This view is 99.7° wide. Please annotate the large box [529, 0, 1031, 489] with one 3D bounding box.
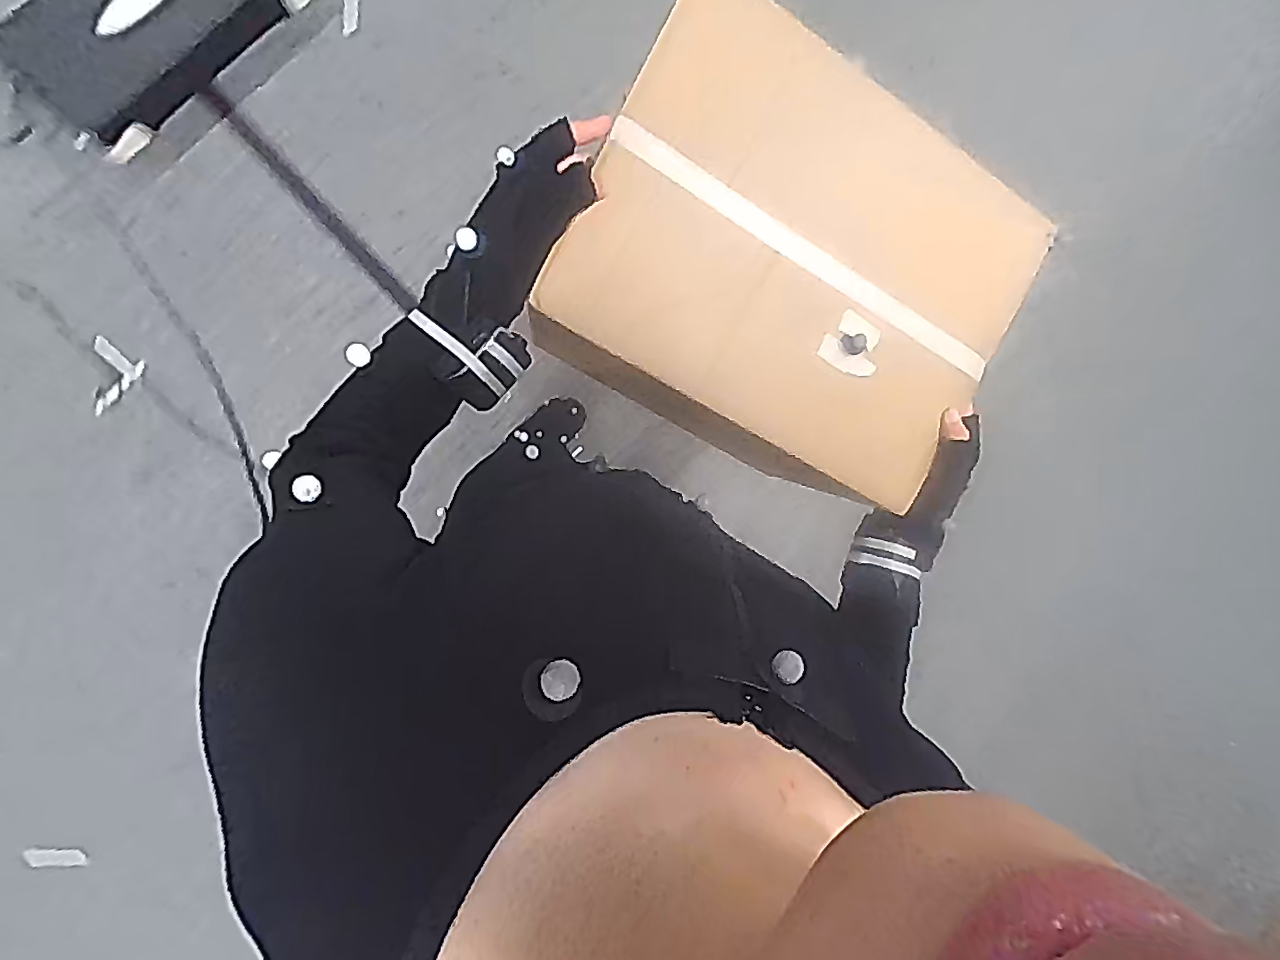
[{"bbox_3d":[0.114,-0.223,0.629,0.408,0.320,0.320,26,92,-13],"label":"large box"}]
